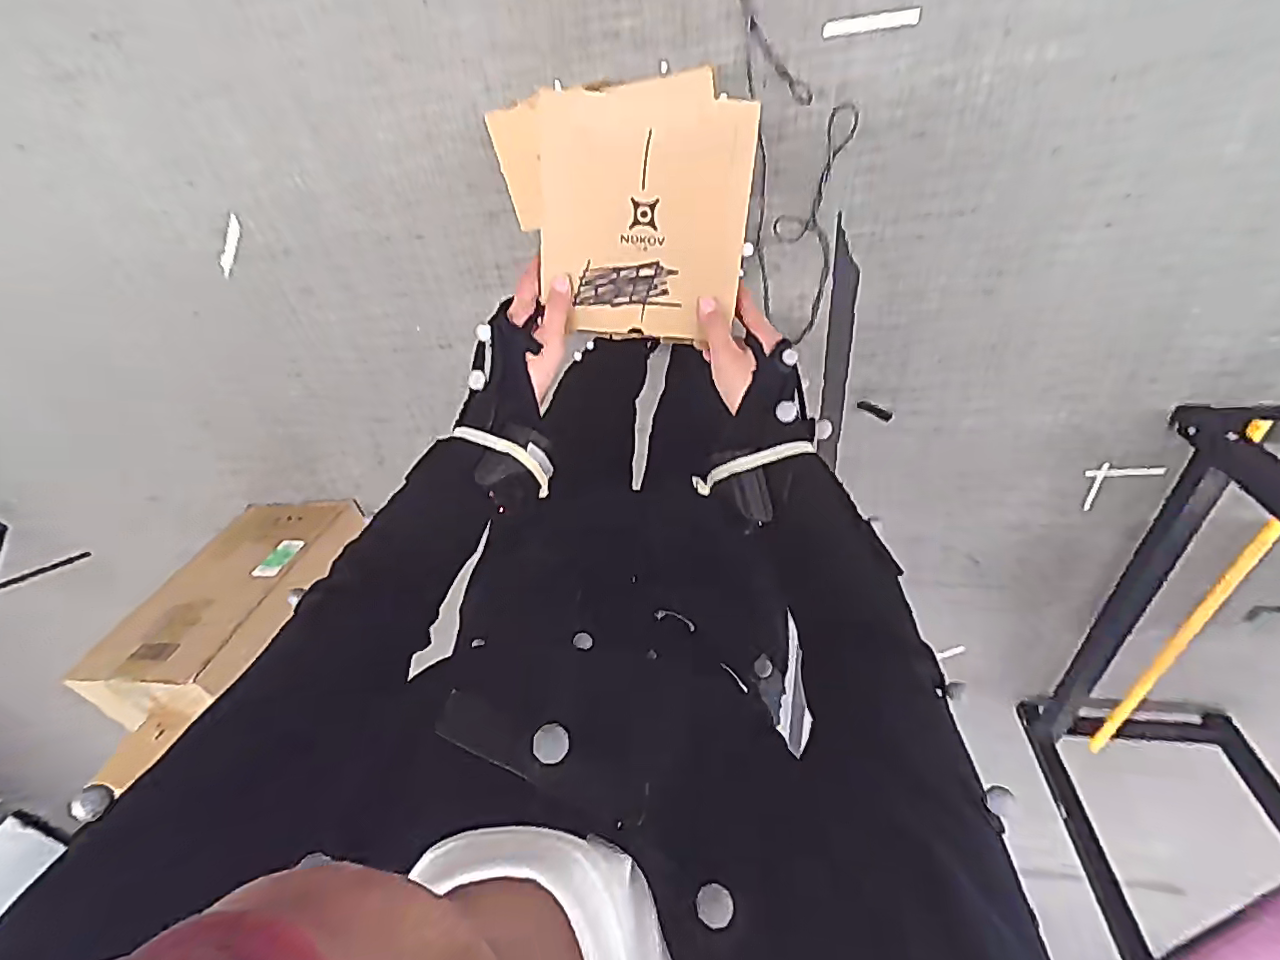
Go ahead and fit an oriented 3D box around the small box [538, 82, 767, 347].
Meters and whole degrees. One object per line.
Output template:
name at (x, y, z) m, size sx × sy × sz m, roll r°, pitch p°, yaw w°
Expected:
small box at (0.009, -0.228, 0.487) m, size 0.168 × 0.176 × 0.179 m, roll 5°, pitch 114°, yaw 2°
